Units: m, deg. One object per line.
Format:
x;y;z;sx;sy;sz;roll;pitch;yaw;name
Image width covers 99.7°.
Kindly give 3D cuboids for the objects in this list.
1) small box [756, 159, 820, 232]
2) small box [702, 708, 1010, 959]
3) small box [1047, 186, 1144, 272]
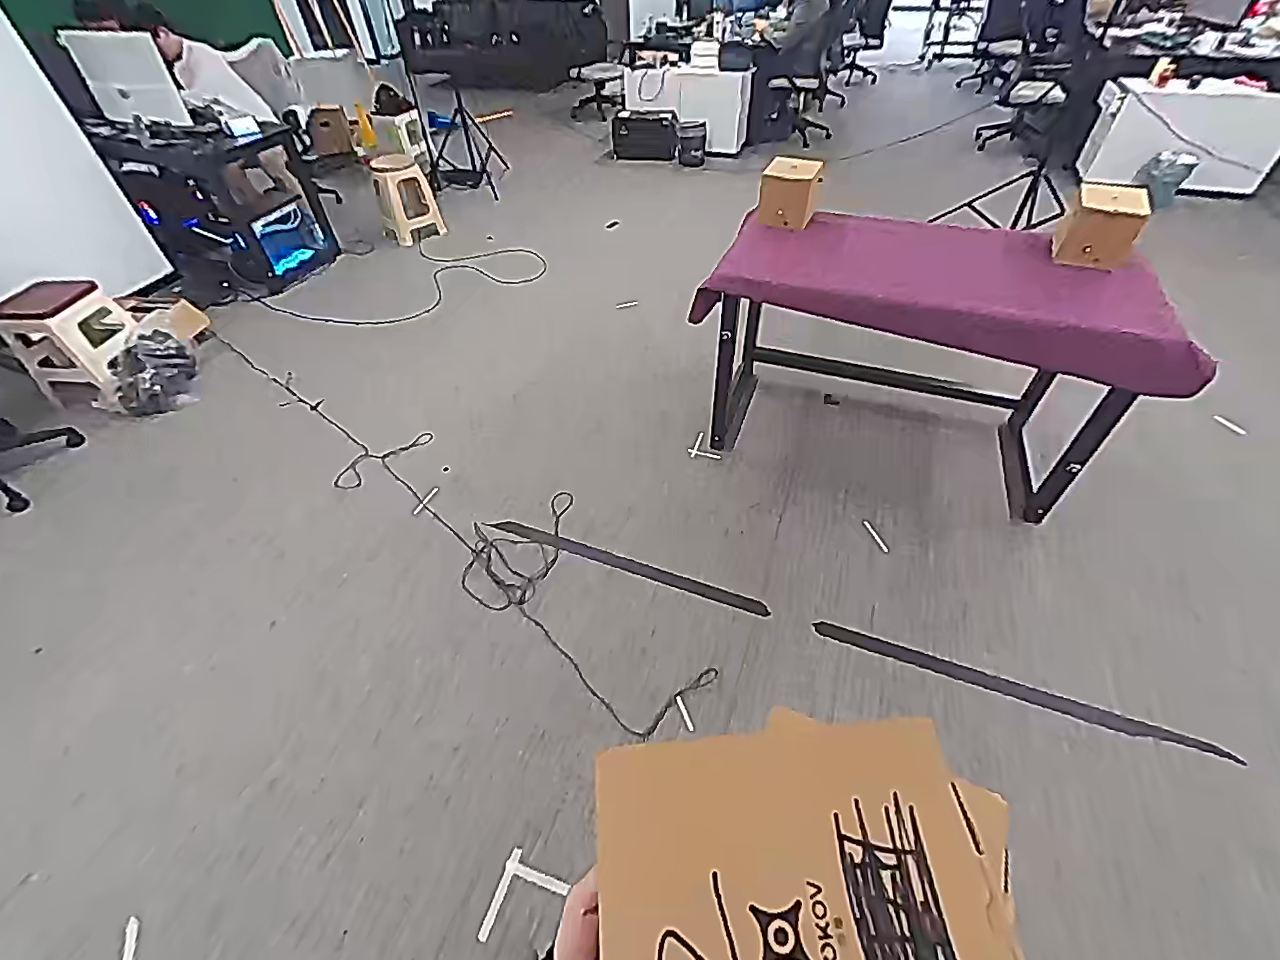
0.510;-0.989;1.880;0.168;0.176;0.179;18;52;18;small box
0.162;0.319;0.441;0.179;0.176;0.168;19;55;15;small box
1.358;-0.754;1.625;0.168;0.176;0.179;18;54;19;small box
